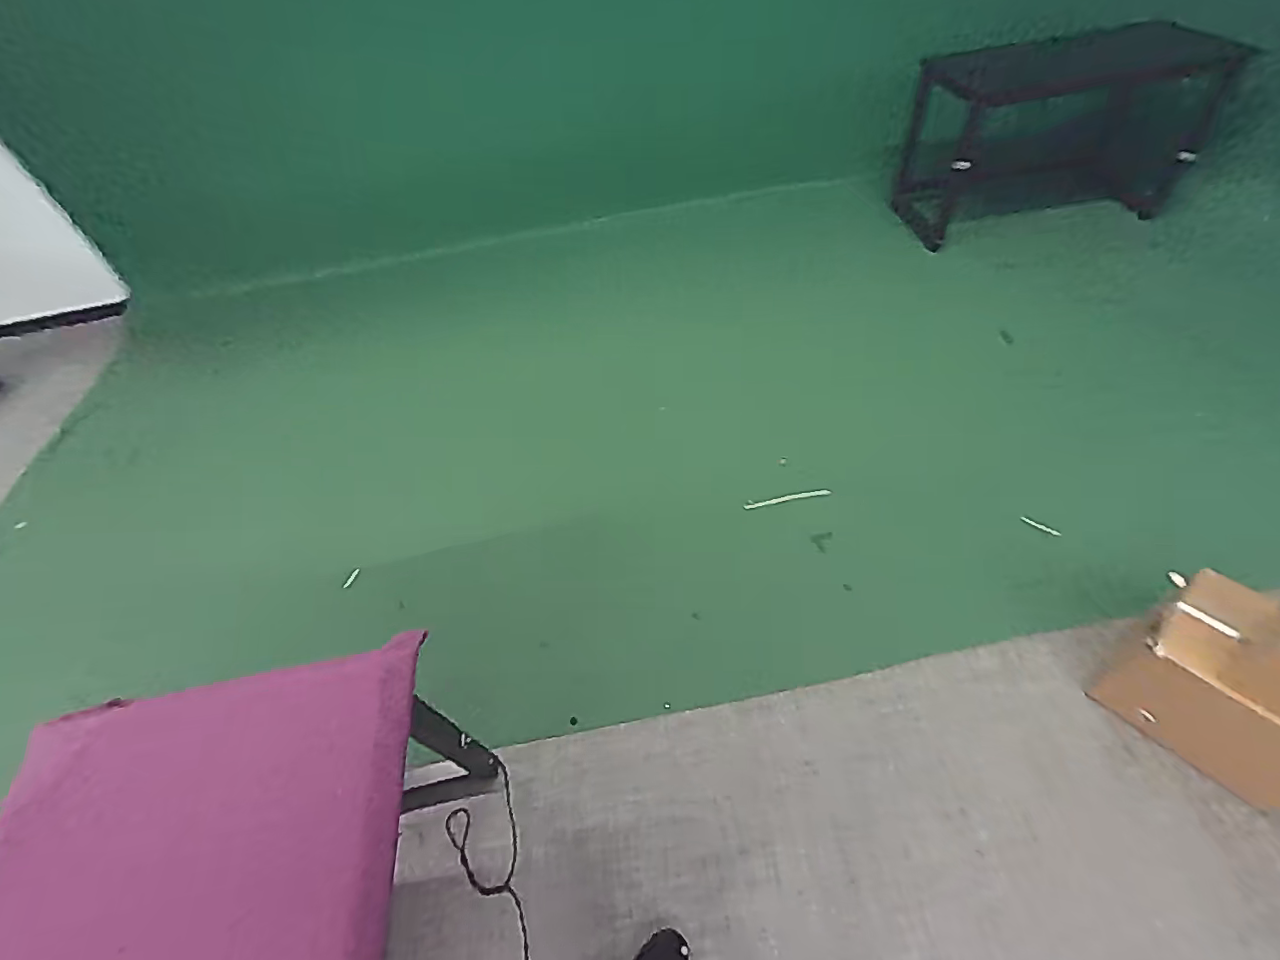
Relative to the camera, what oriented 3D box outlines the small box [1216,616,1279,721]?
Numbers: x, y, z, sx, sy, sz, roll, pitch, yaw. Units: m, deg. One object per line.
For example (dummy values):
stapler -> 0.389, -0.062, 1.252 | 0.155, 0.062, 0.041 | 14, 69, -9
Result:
small box -> 1.354, 0.389, 1.093 | 0.168, 0.176, 0.179 | -37, 55, -21
